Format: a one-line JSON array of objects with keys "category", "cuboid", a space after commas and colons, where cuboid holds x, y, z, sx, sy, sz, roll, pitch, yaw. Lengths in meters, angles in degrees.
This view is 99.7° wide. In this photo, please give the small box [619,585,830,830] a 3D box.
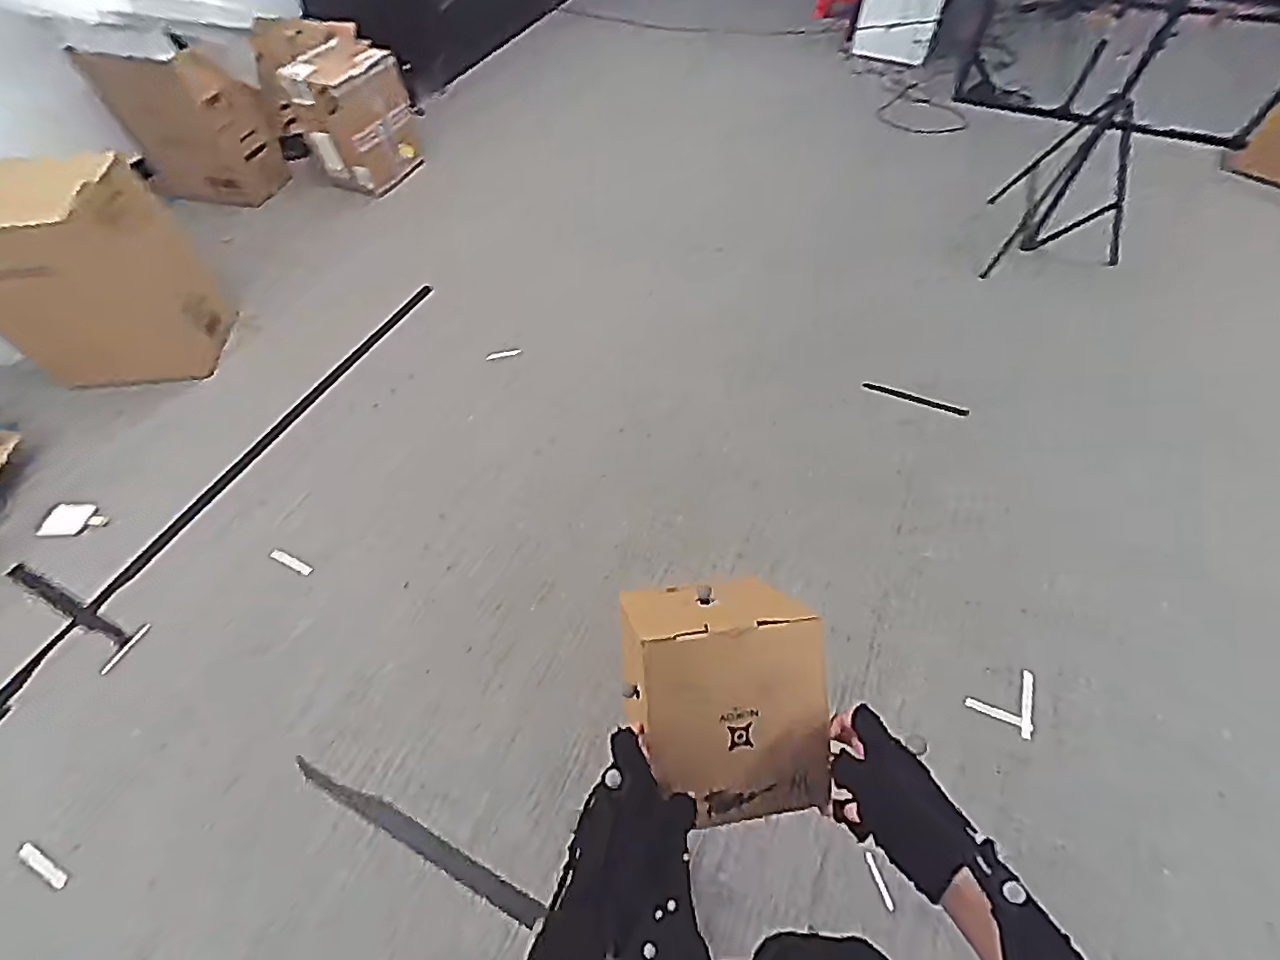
[{"category": "small box", "cuboid": [0.073, 0.209, 0.555, 0.168, 0.176, 0.179, -4, 91, -9]}]
